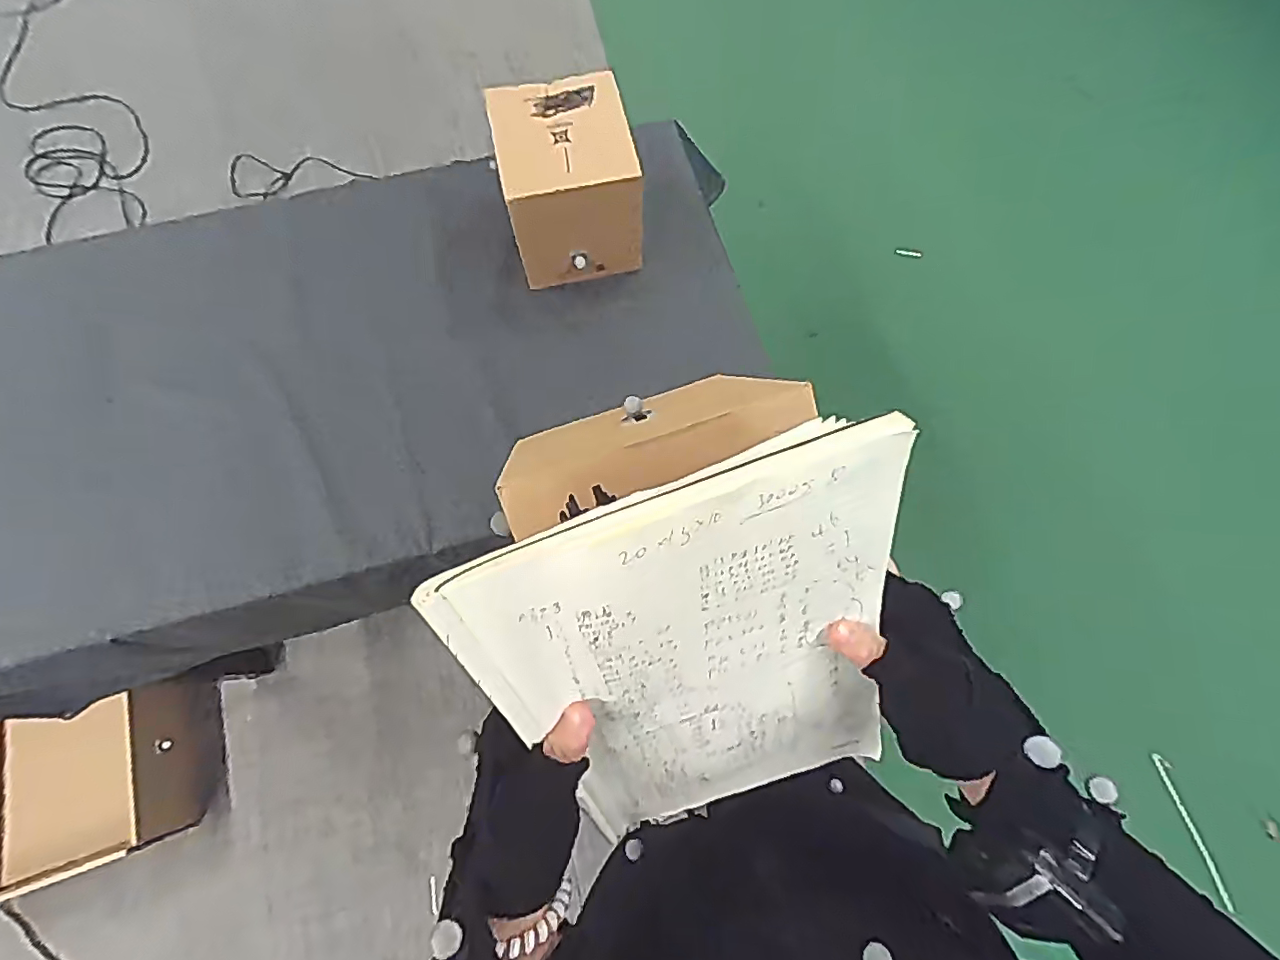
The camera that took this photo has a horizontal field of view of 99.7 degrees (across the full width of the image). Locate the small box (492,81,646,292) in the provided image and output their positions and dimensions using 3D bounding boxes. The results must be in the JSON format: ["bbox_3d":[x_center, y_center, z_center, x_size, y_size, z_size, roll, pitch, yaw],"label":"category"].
[{"bbox_3d":[-0.091,-0.389,0.734,0.168,0.176,0.179,-12,73,-4],"label":"small box"}]
